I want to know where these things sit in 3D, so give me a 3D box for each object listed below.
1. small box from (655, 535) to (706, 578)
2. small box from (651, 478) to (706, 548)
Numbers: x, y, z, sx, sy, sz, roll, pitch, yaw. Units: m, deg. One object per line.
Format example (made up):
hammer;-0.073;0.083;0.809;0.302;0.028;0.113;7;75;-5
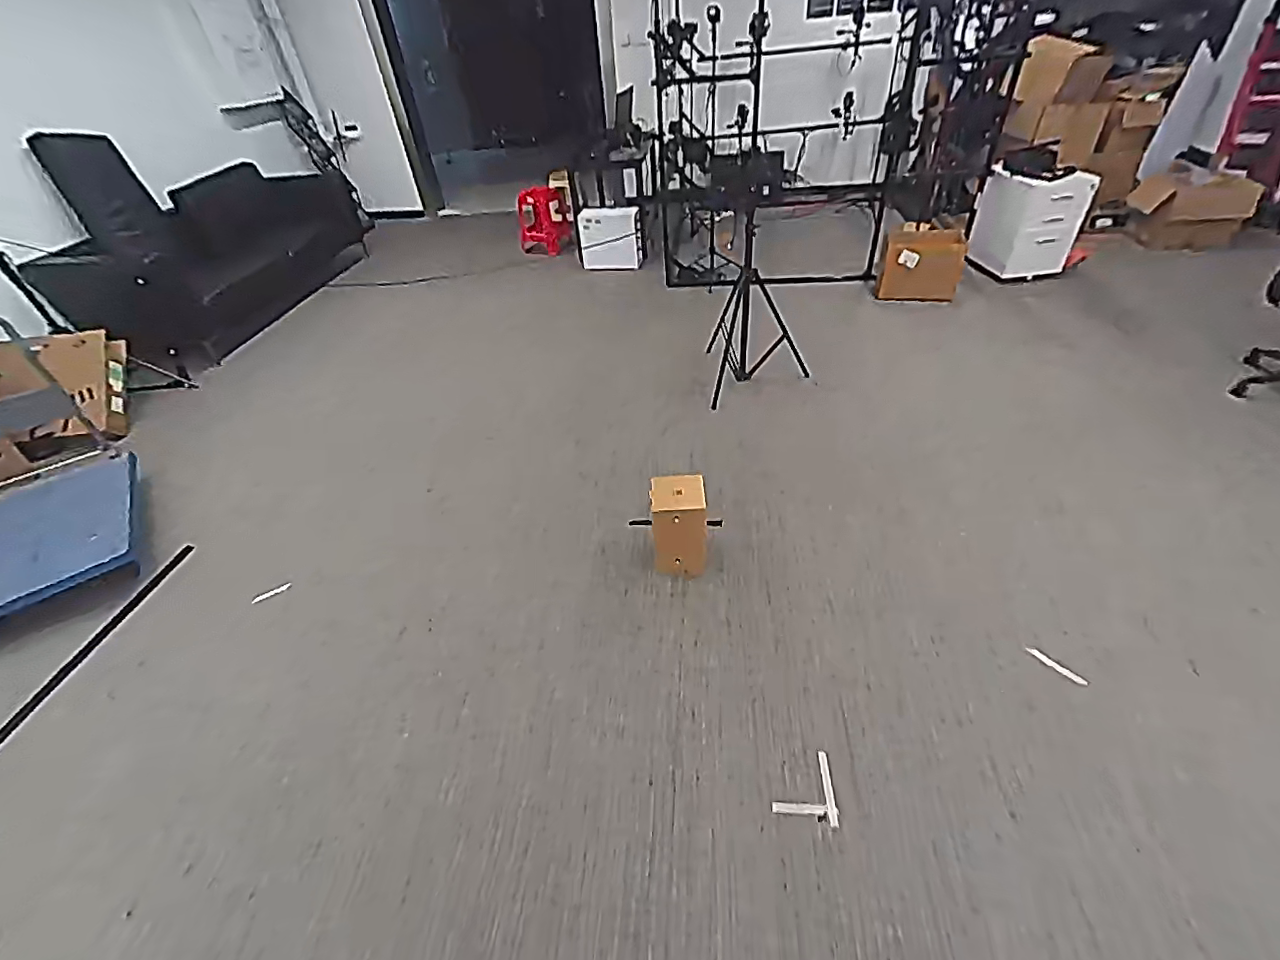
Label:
small box;0.149;0.229;1.931;0.168;0.176;0.179;3;40;9
small box;0.130;0.111;1.820;0.179;0.176;0.168;-4;40;4
